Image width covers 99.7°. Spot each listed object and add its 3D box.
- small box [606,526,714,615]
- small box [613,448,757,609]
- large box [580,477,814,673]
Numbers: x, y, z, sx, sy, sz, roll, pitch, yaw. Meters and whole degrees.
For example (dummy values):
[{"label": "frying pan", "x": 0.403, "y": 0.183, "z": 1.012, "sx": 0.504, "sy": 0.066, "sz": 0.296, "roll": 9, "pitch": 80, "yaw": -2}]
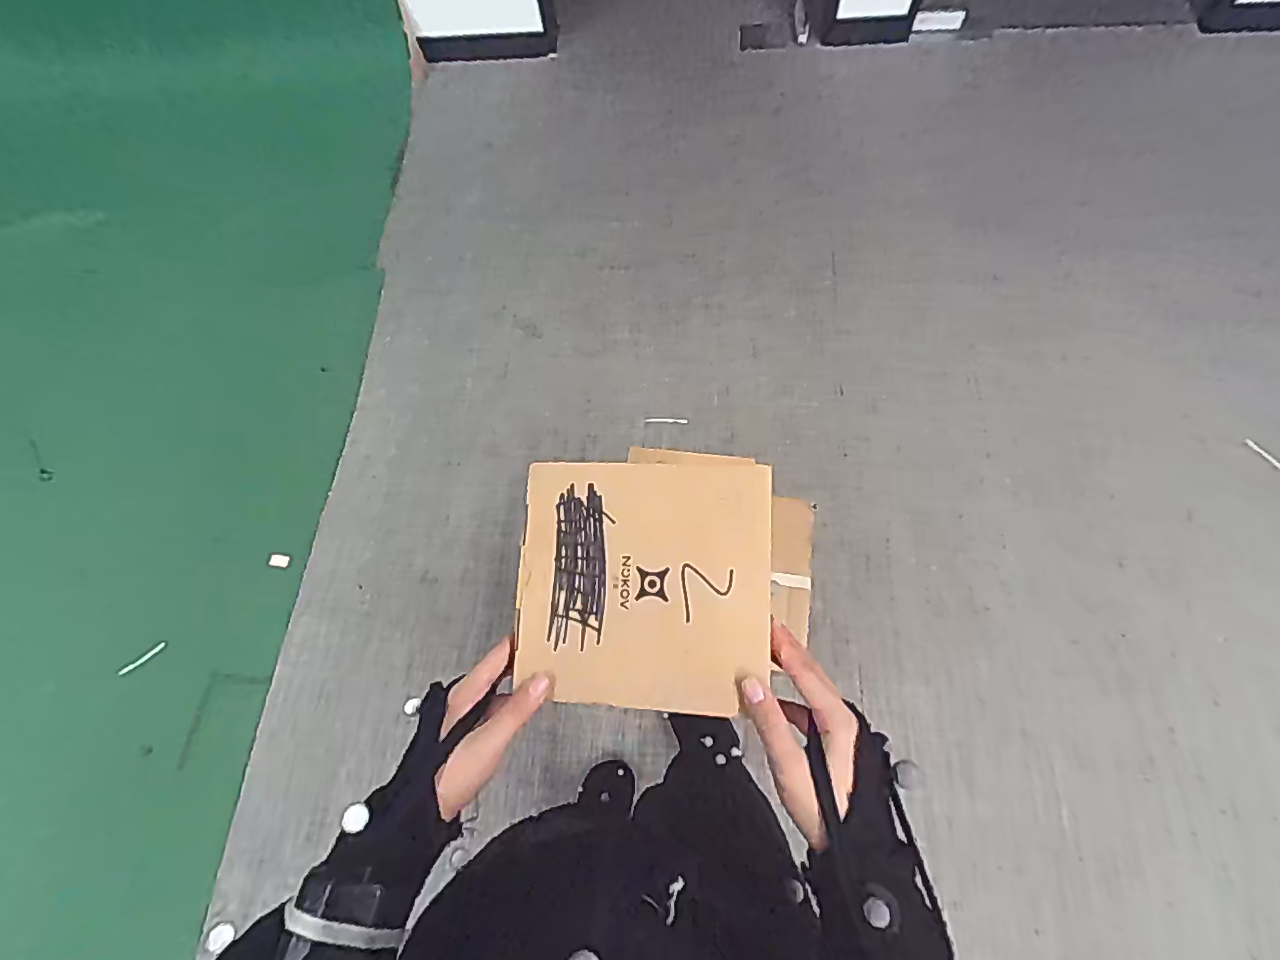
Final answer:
[{"label": "small box", "x": 0.056, "y": 0.120, "z": 0.899, "sx": 0.179, "sy": 0.176, "sz": 0.168, "roll": 13, "pitch": 71, "yaw": 8}, {"label": "small box", "x": 0.062, "y": 0.075, "z": 0.742, "sx": 0.168, "sy": 0.176, "sz": 0.179, "roll": 6, "pitch": 69, "yaw": 4}, {"label": "large box", "x": 0.115, "y": 0.209, "z": 1.121, "sx": 0.408, "sy": 0.320, "sz": 0.320, "roll": 8, "pitch": 72, "yaw": 6}]
